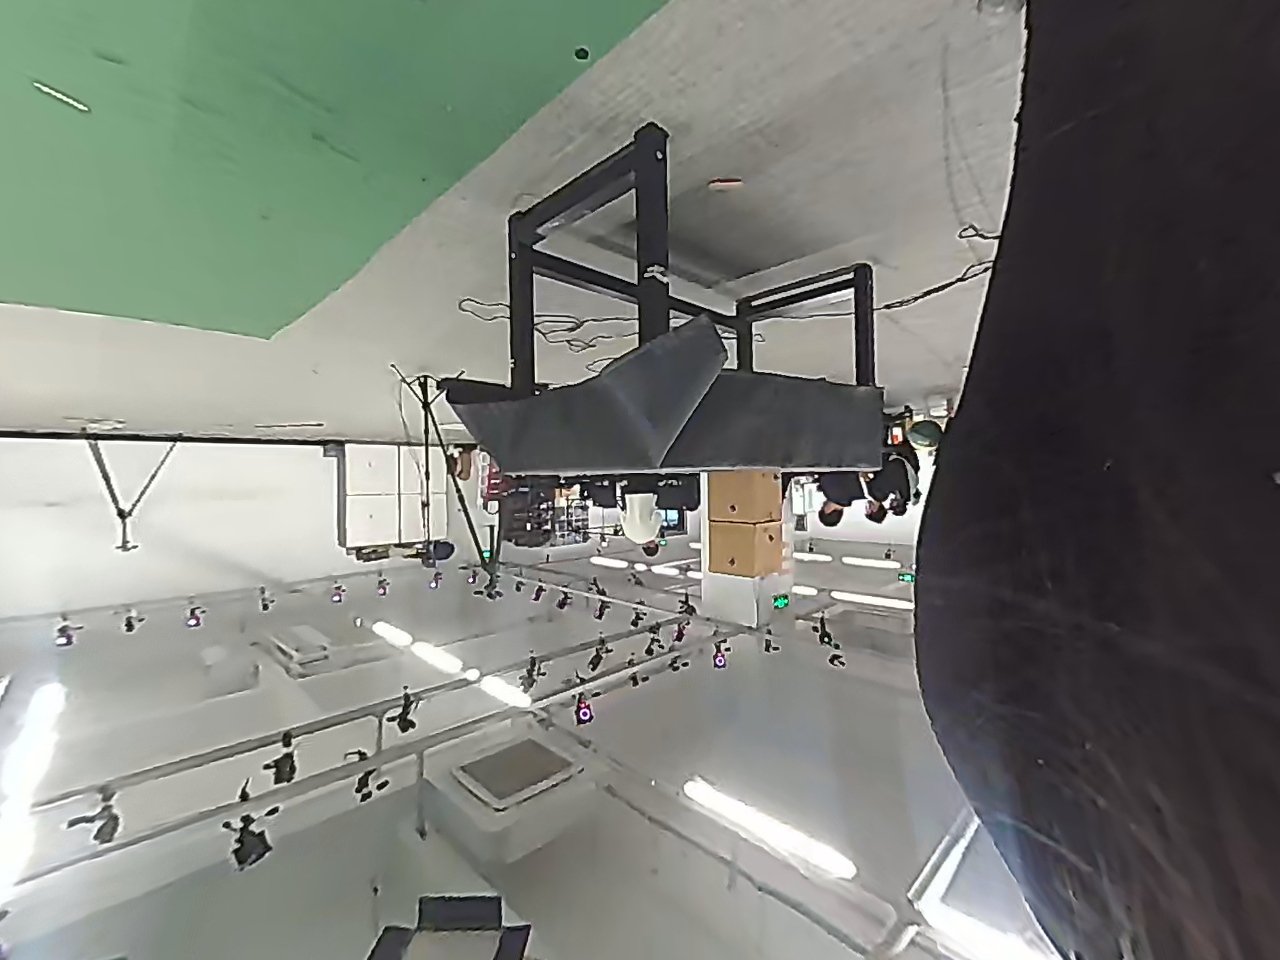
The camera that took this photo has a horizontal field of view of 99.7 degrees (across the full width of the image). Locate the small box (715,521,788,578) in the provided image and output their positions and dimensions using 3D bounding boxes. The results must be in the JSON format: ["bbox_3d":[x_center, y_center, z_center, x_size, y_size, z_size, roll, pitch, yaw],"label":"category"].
[{"bbox_3d":[0.359,0.211,1.724,0.168,0.176,0.179,0,179,-44],"label":"small box"}]

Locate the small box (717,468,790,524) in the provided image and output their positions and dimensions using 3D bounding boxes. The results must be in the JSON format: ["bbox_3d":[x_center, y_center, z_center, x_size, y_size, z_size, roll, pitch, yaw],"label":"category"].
[{"bbox_3d":[0.359,0.048,1.726,0.168,0.176,0.179,0,-179,-44],"label":"small box"}]
